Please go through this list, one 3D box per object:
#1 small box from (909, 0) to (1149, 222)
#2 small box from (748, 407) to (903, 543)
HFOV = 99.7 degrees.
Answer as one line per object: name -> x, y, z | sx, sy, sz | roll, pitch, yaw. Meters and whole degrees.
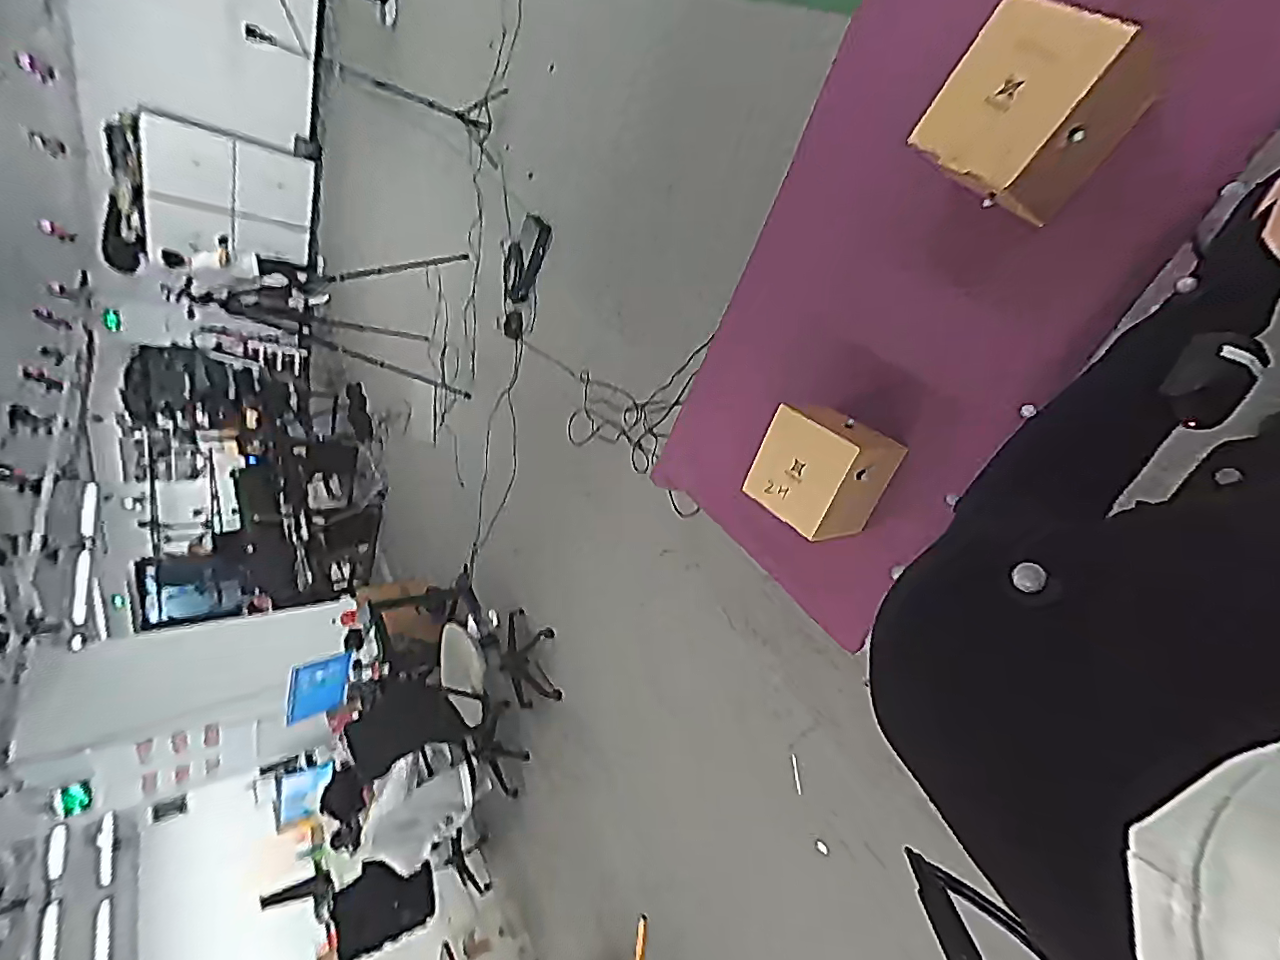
small box -> 0.507, -0.470, 0.709 | 0.168, 0.176, 0.179 | 56, 131, 31
small box -> 0.329, -0.015, 0.952 | 0.168, 0.176, 0.179 | 42, 123, 40
